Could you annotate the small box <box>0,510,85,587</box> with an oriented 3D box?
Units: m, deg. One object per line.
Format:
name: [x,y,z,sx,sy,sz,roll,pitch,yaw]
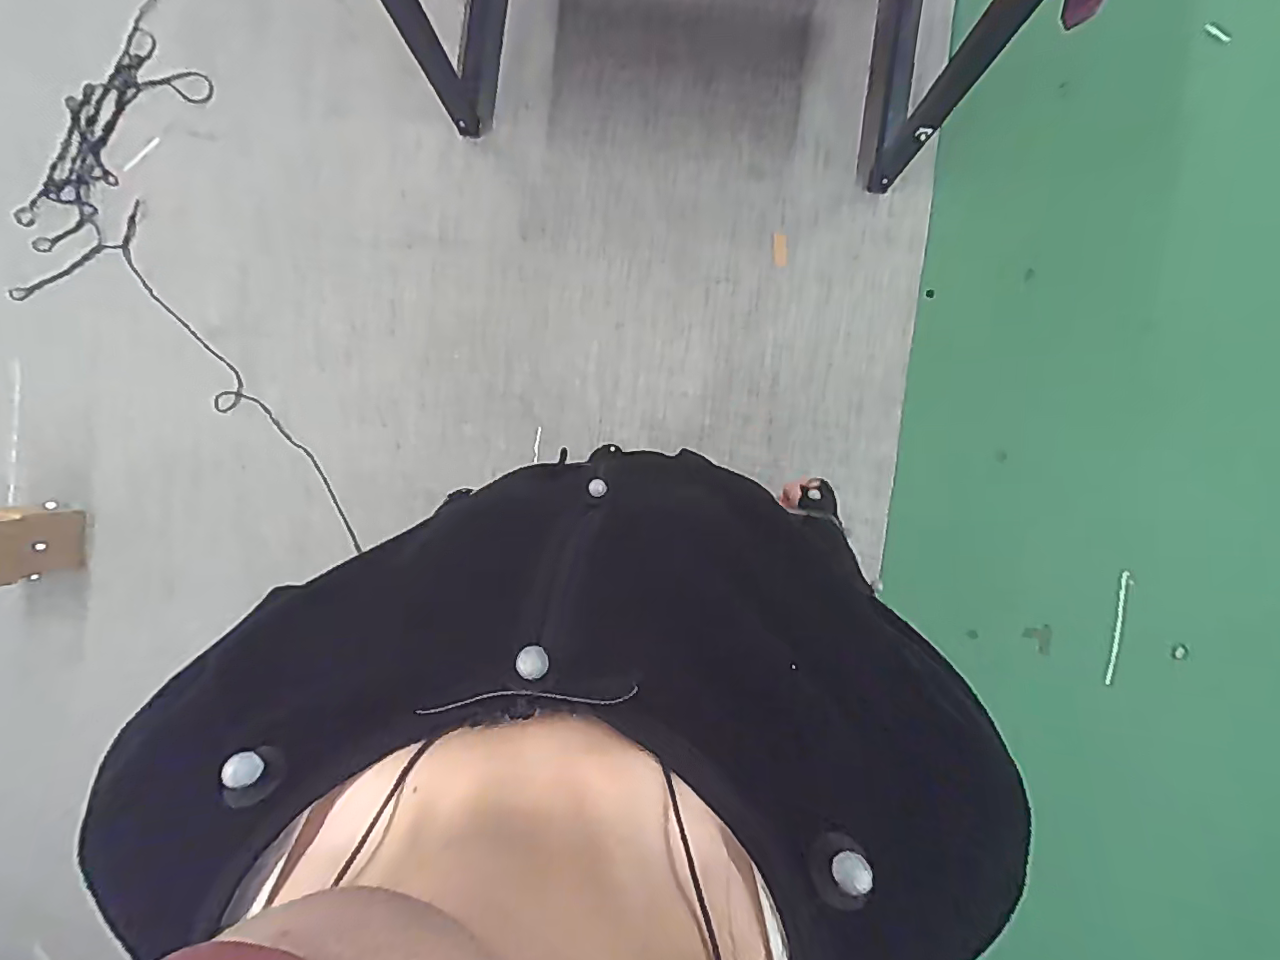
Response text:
small box: [-1.695,0.183,1.489,0.168,0.176,0.179,6,91,2]

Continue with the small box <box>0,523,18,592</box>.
small box: [-1.701,0.196,1.325,0.168,0.176,0.179,6,91,1]
